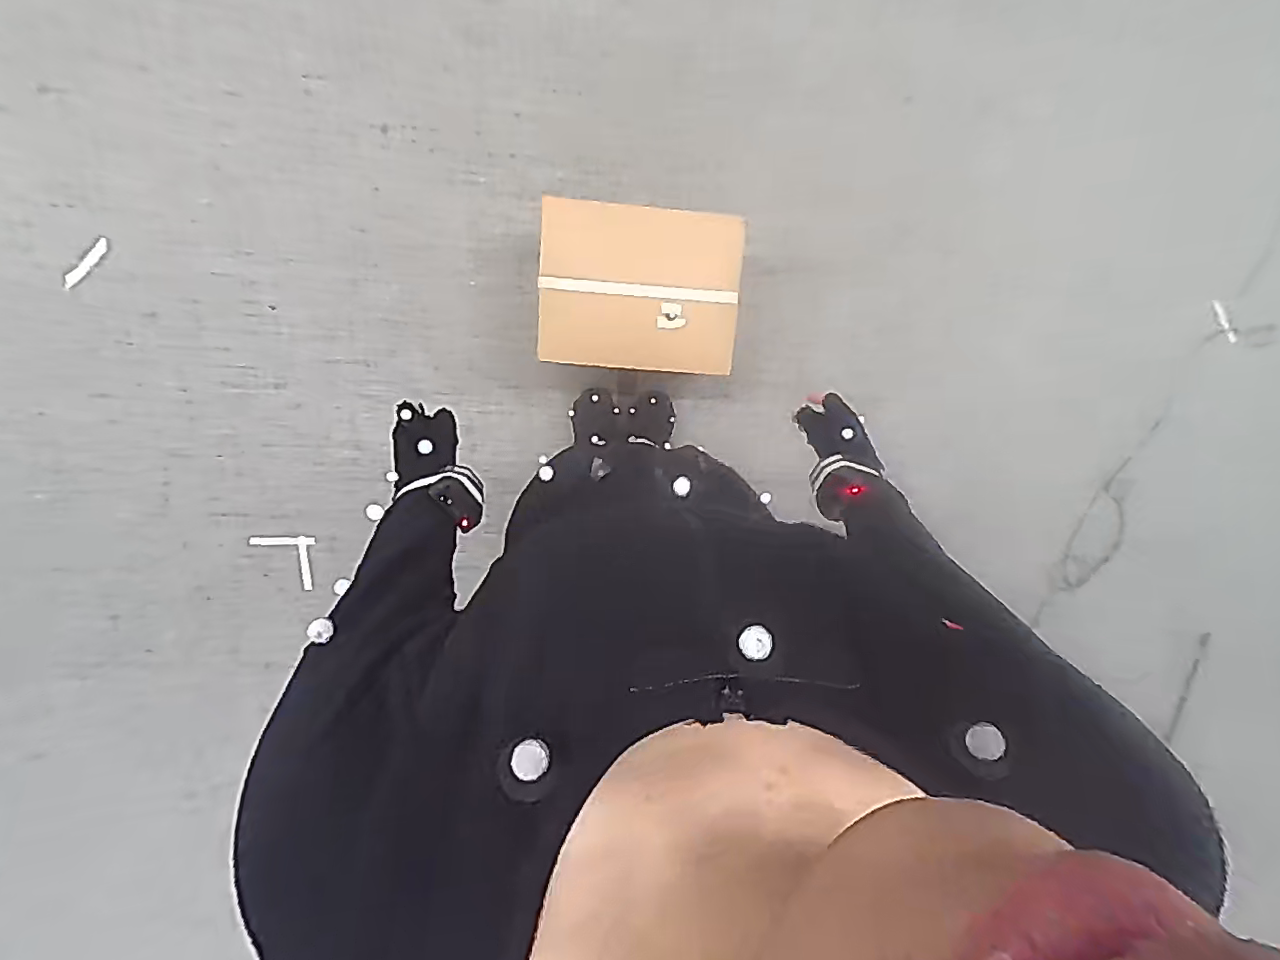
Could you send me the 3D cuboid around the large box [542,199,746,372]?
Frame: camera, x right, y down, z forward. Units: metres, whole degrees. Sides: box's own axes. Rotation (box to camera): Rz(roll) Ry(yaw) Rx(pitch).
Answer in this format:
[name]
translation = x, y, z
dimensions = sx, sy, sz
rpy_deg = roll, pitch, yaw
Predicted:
[large box]
translation = -0.007, -0.418, 1.235
dimensions = 0.408, 0.320, 0.320
rpy_deg = 3, 104, -5
